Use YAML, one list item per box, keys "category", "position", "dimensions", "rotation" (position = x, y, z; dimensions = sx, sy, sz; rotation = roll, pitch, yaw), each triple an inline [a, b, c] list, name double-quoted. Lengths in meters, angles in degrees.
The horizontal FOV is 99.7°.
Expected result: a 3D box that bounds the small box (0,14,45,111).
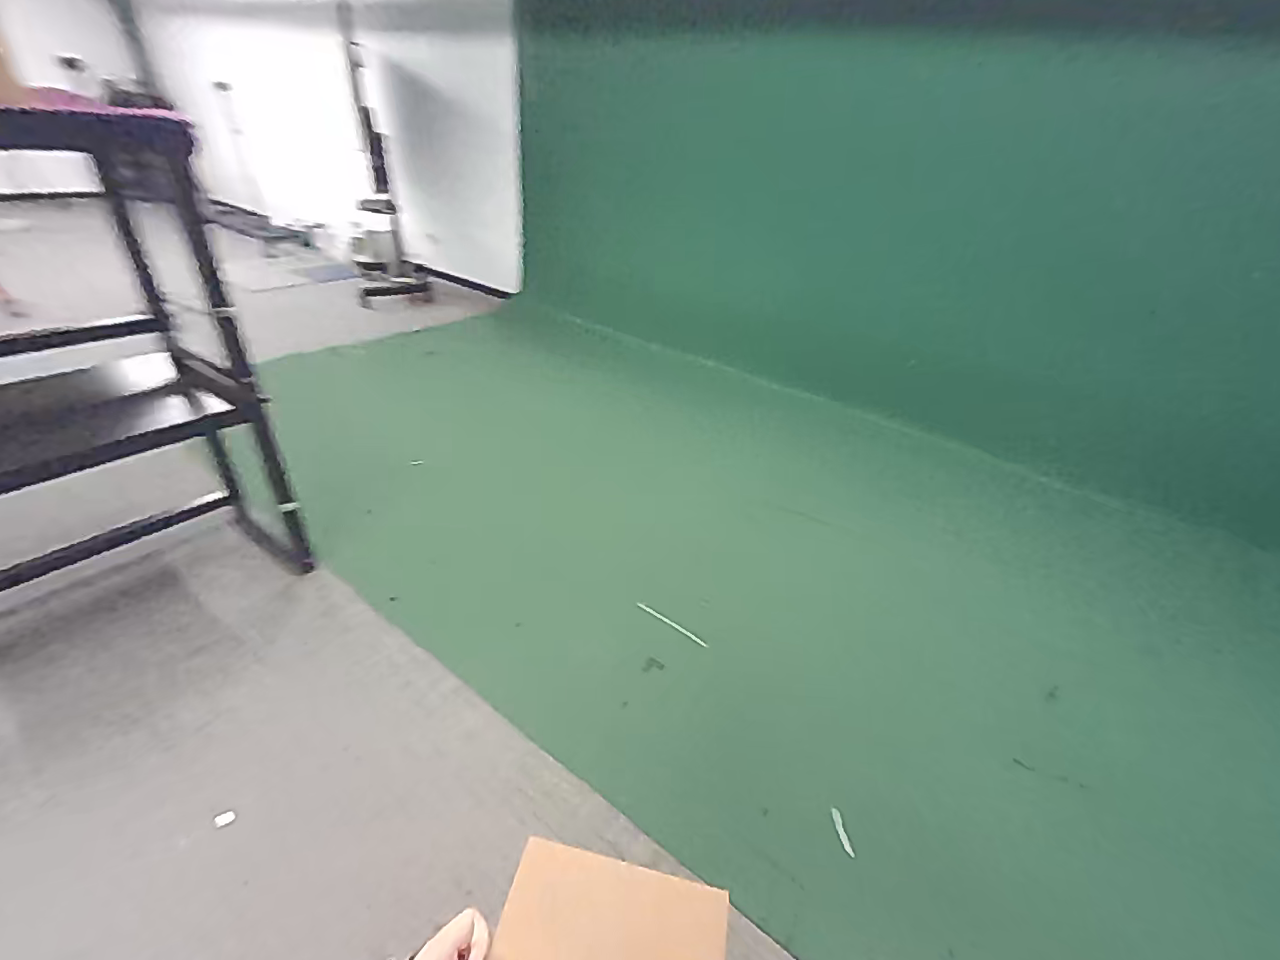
- category: "small box"
  position: [-1.413, -0.883, 1.130]
  dimensions: [0.179, 0.176, 0.168]
  rotation: [27, 38, 27]
